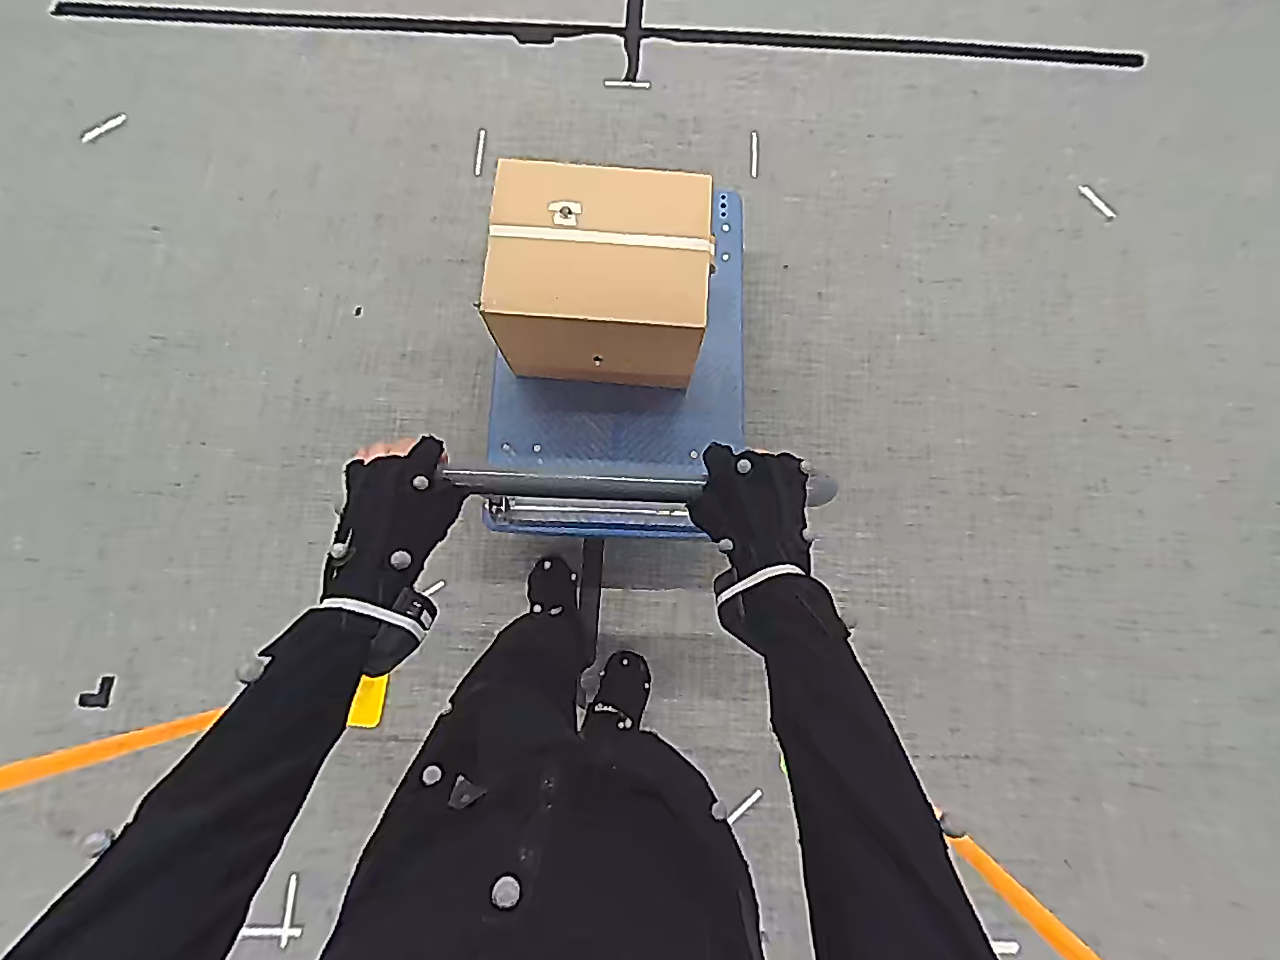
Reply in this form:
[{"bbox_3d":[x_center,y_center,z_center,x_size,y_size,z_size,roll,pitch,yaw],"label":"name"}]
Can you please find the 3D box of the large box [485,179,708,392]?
[{"bbox_3d":[-0.075,-0.387,1.148,0.408,0.320,0.320,4,79,0],"label":"large box"}]
